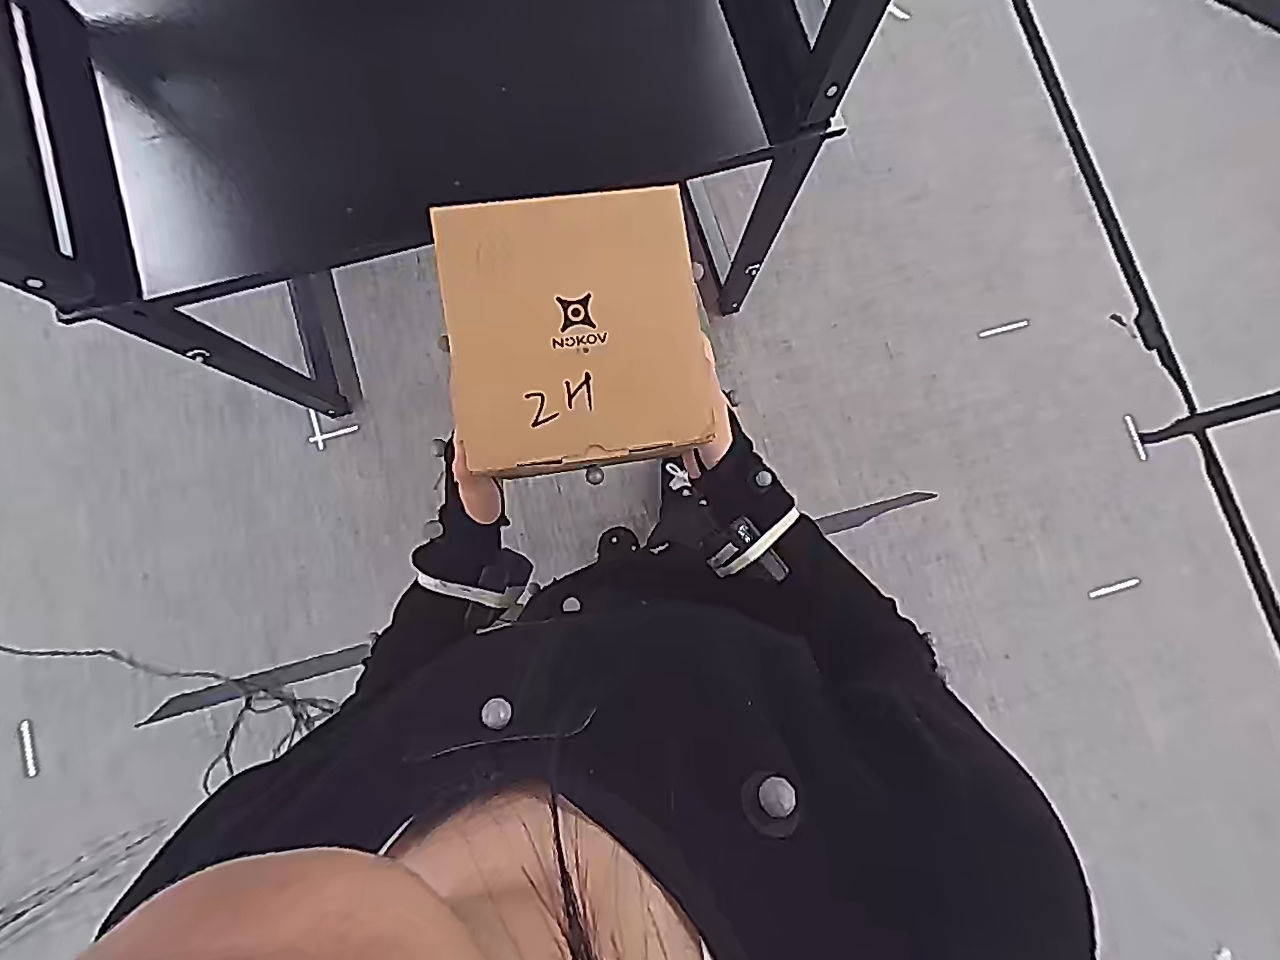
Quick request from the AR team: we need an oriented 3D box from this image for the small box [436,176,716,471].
[{"bbox_3d":[-0.048,-0.105,0.430,0.168,0.176,0.179,-8,90,-5],"label":"small box"}]
